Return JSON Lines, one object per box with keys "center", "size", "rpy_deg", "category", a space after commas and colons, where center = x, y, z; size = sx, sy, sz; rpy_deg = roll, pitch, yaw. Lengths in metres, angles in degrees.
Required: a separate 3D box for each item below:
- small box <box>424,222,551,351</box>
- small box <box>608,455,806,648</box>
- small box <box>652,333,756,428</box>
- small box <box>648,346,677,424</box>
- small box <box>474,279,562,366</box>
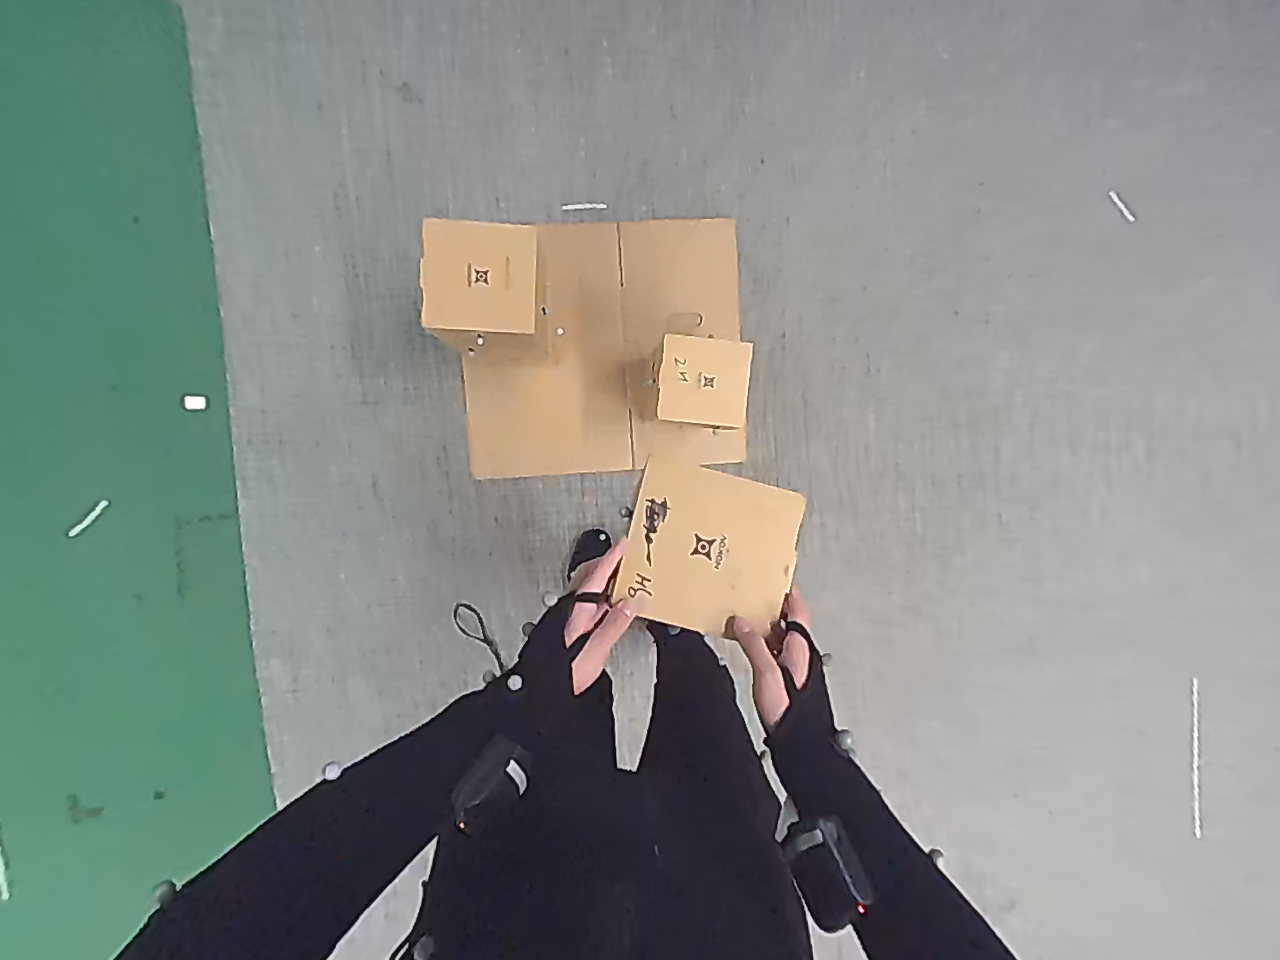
{"center": [-0.250, -0.316, 0.917], "size": [0.179, 0.176, 0.168], "rpy_deg": [2, 95, -4], "category": "small box"}
{"center": [0.068, 0.086, 0.638], "size": [0.179, 0.176, 0.168], "rpy_deg": [15, 78, -2], "category": "small box"}
{"center": [0.125, -0.197, 1.115], "size": [0.179, 0.176, 0.168], "rpy_deg": [5, 94, -3], "category": "small box"}
{"center": [0.115, -0.217, 1.279], "size": [0.179, 0.176, 0.168], "rpy_deg": [1, 94, -3], "category": "small box"}
{"center": [-0.275, -0.357, 1.242], "size": [0.179, 0.176, 0.168], "rpy_deg": [0, 94, -4], "category": "small box"}
